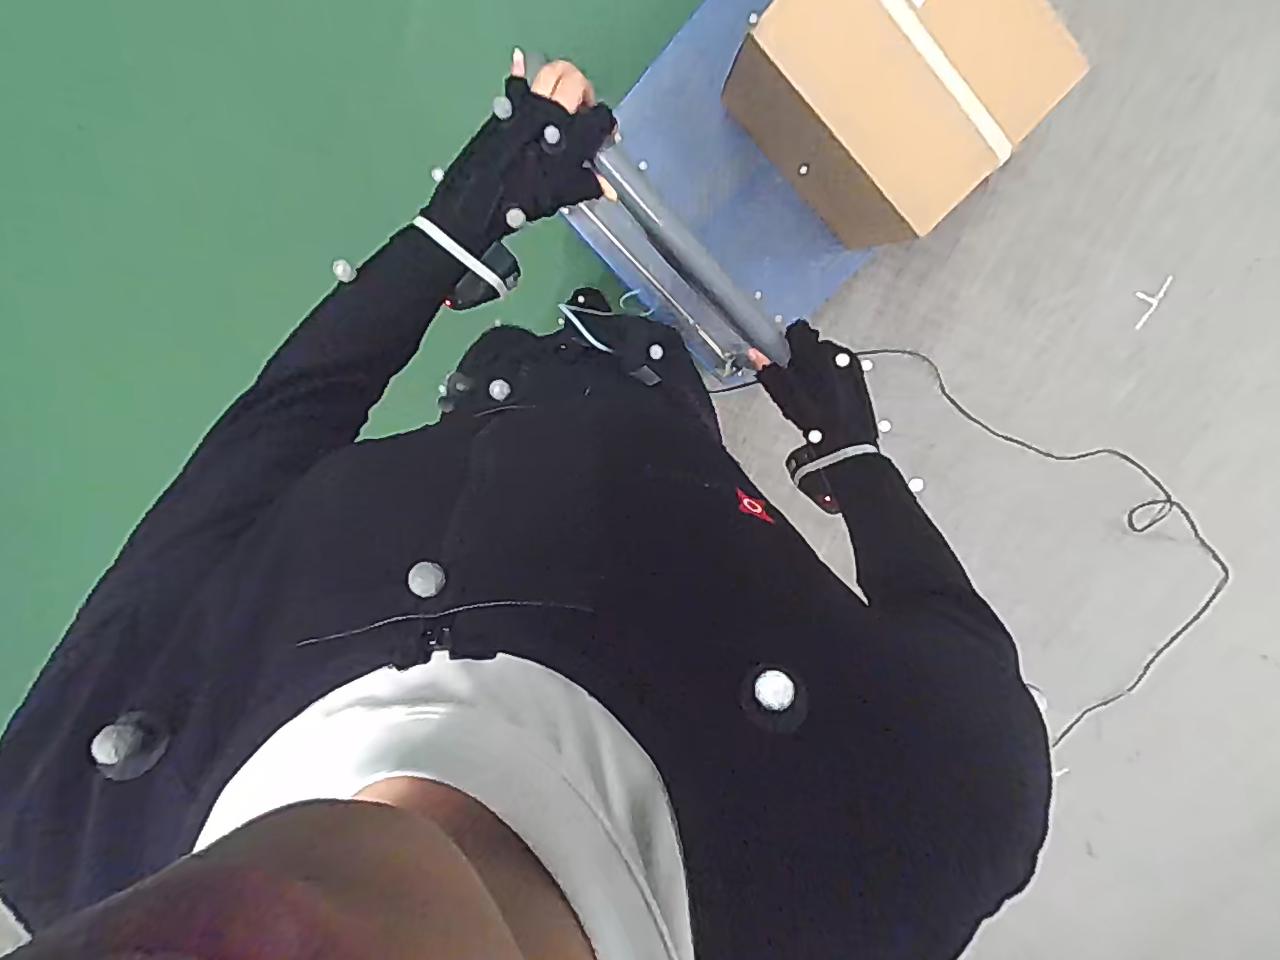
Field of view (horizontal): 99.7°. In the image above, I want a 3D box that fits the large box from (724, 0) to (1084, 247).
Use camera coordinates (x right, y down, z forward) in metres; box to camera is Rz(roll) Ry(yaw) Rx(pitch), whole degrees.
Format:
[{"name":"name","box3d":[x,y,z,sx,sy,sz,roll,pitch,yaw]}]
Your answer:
[{"name":"large box","box3d":[0.402,-0.665,0.919,0.408,0.320,0.320,42,104,-12]}]
